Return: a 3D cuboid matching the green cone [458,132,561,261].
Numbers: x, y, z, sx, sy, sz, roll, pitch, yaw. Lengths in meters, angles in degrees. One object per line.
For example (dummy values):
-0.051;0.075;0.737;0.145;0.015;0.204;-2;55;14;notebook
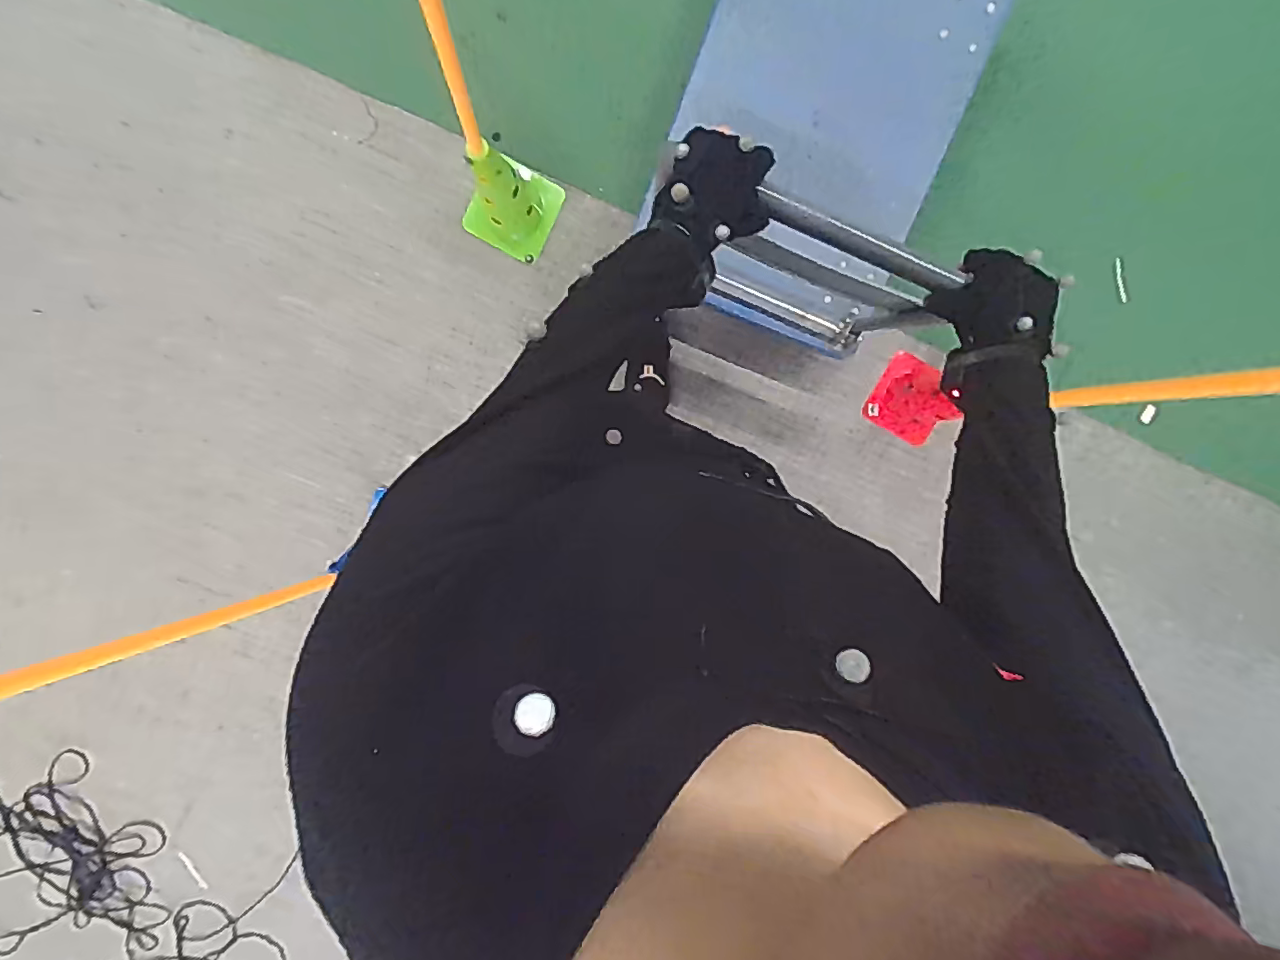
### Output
-0.312;-0.644;1.162;0.202;0.368;0.200;26;97;-6;green cone
